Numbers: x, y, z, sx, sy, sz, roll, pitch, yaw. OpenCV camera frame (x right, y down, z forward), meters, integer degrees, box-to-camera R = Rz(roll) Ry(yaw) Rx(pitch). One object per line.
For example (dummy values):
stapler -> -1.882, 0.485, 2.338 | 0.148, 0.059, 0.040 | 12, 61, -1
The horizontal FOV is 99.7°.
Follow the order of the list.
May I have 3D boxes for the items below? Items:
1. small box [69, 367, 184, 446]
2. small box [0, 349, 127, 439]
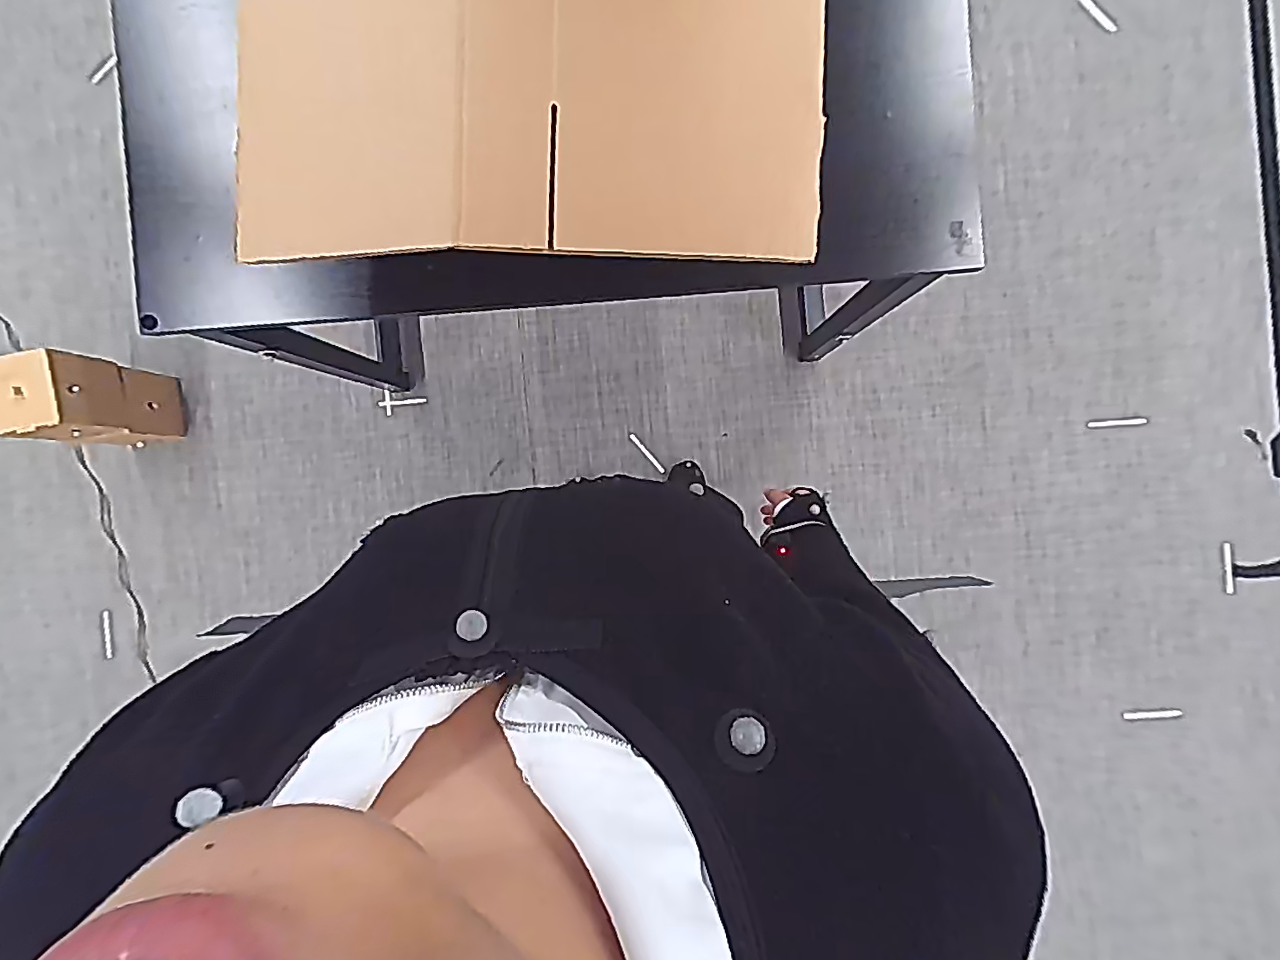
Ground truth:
small box -> -1.378, -0.191, 1.450 | 0.168, 0.176, 0.179 | -8, 91, 2
small box -> -1.383, -0.195, 1.287 | 0.168, 0.176, 0.179 | -11, 90, 1
